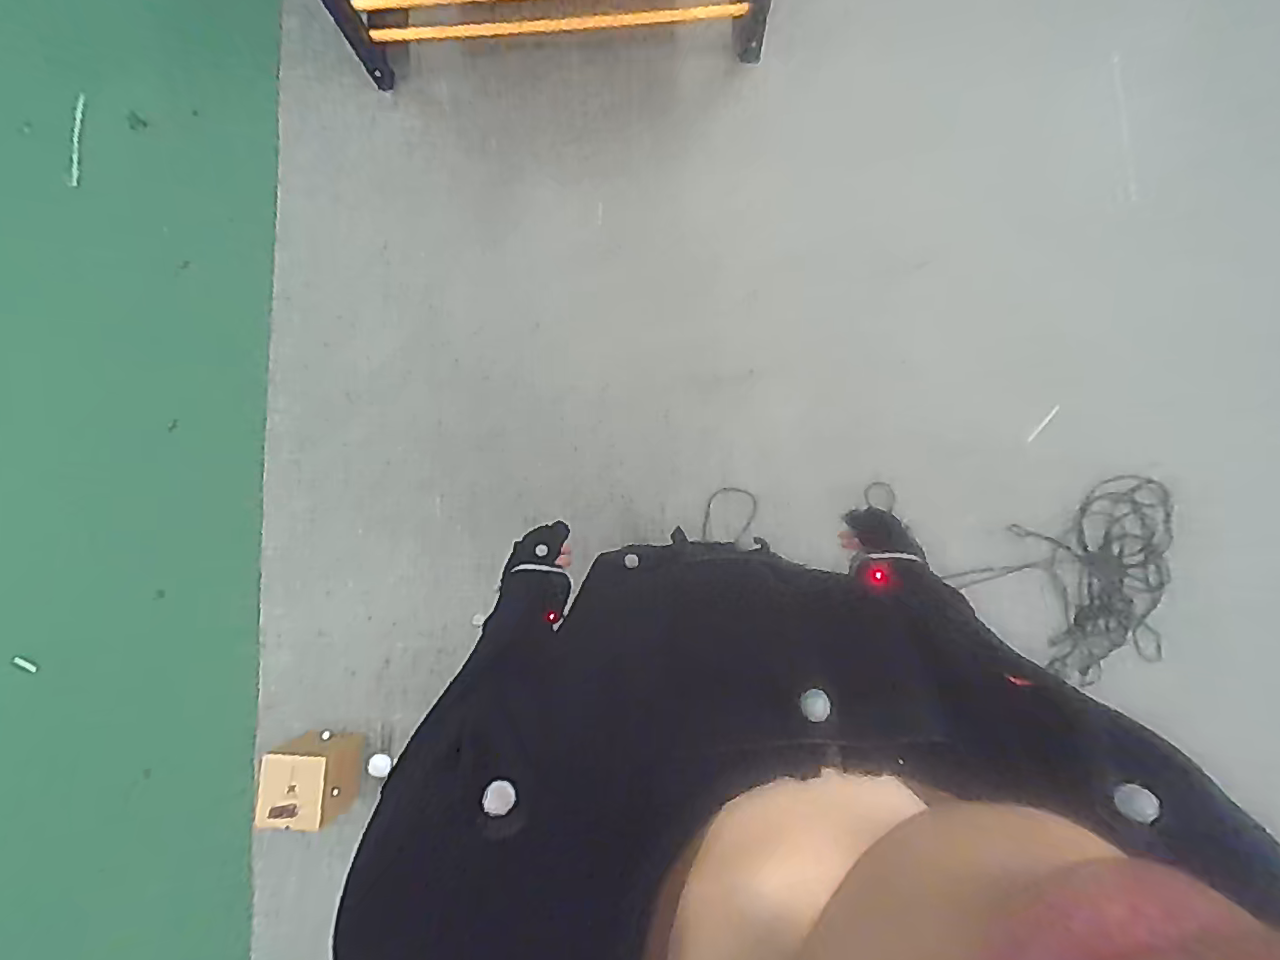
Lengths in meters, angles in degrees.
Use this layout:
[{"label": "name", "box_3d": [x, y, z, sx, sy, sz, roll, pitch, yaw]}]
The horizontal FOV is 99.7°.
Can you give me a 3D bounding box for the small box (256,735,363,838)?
[{"label": "small box", "box_3d": [-0.840, 0.780, 1.389, 0.168, 0.176, 0.179, 2, 83, 3]}]
